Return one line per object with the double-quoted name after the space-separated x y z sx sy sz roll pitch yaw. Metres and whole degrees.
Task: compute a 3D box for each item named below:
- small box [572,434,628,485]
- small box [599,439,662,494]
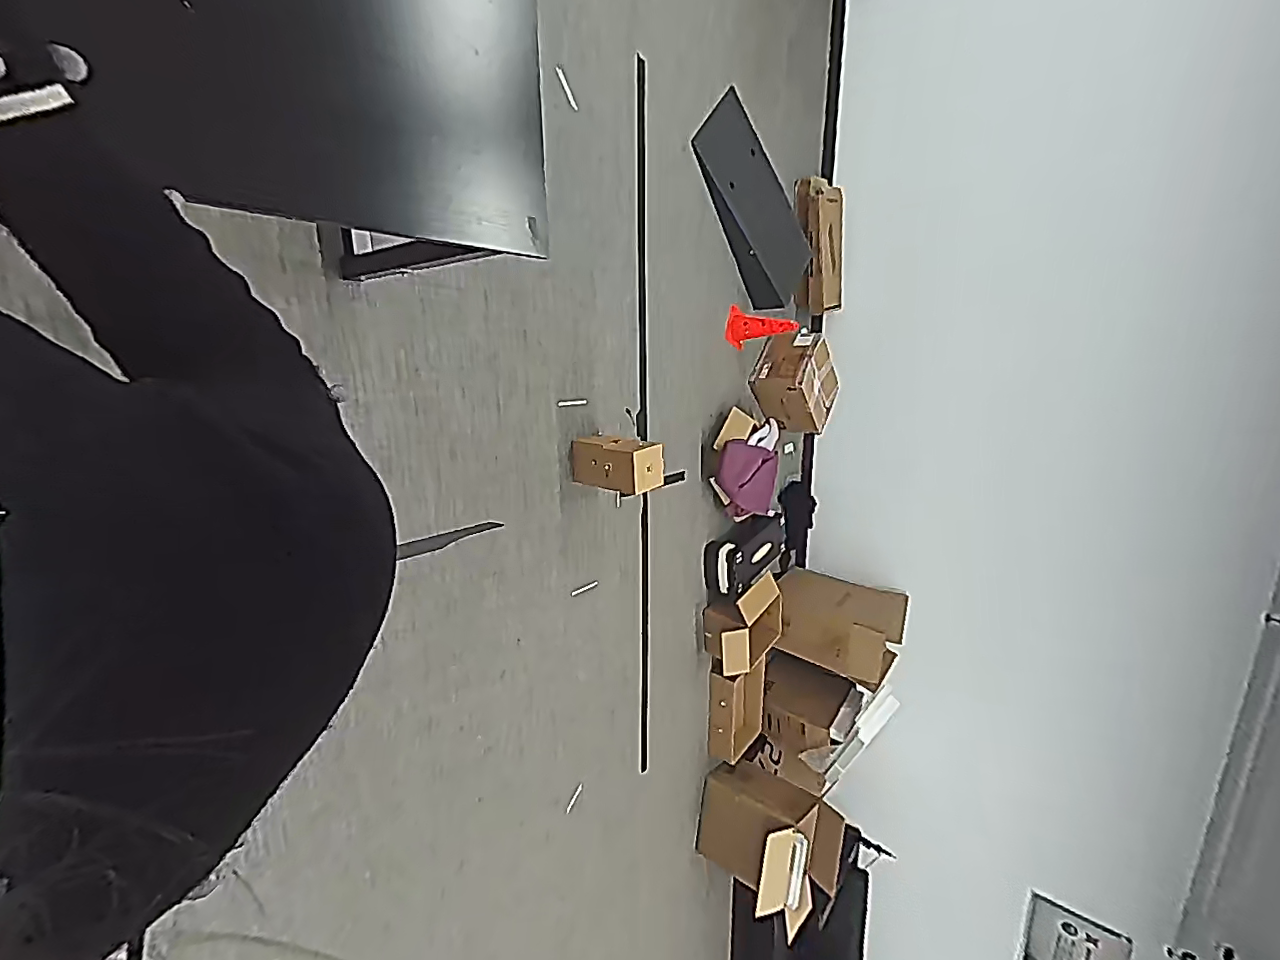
-0.160 -0.086 2.163 0.168 0.176 0.179 -18 113 -49 "small box"
-0.035 -0.058 2.063 0.179 0.176 0.168 -21 113 -47 "small box"
